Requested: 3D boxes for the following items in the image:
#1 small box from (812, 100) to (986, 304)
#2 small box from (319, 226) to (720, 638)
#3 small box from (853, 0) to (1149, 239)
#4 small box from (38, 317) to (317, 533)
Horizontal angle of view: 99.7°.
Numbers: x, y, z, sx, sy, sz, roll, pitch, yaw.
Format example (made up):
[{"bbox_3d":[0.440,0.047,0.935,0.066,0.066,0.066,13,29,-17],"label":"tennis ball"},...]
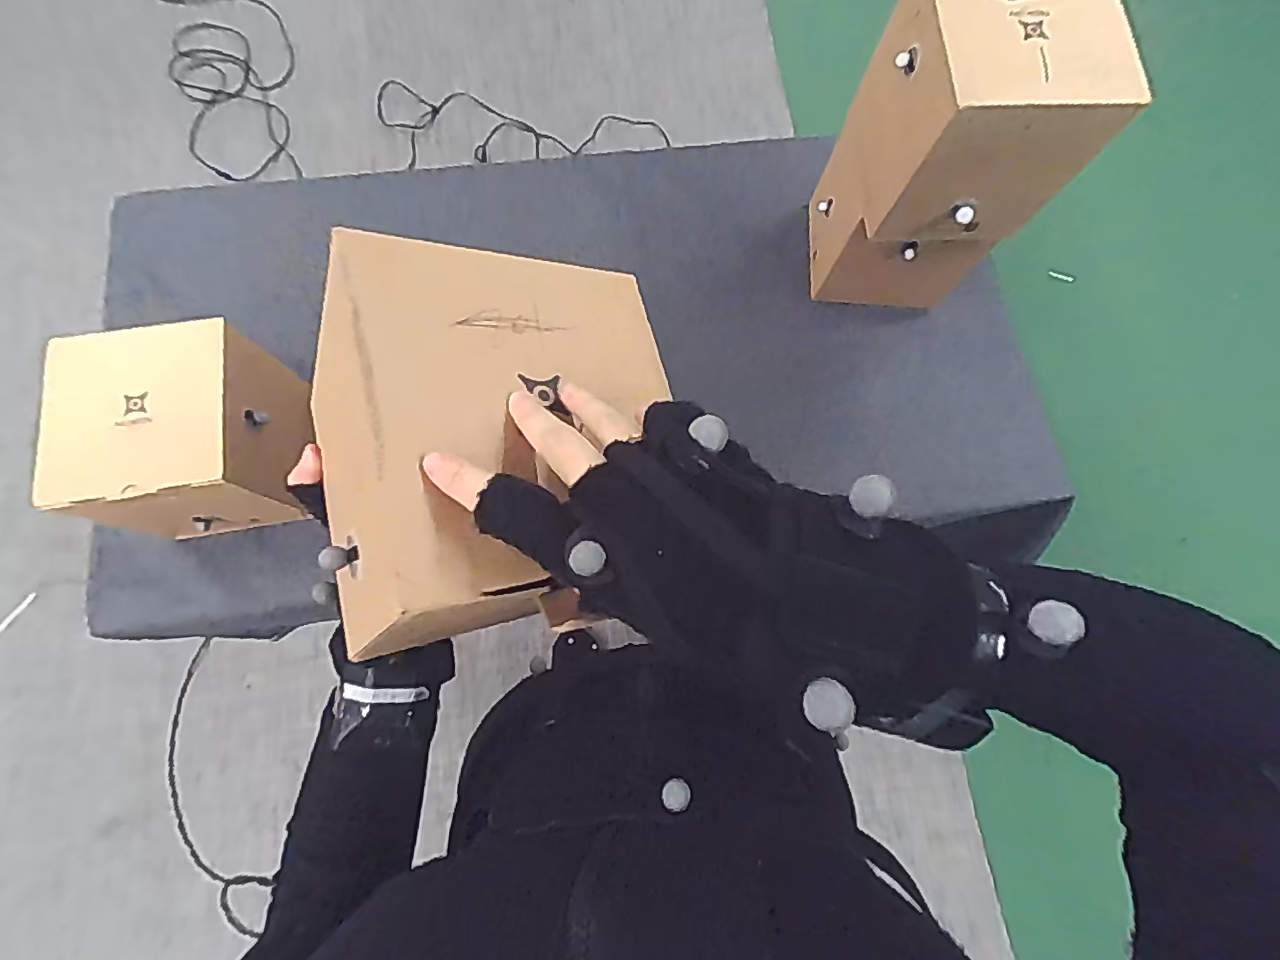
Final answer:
[{"bbox_3d":[0.331,-0.347,0.700,0.179,0.176,0.168,4,76,-1],"label":"small box"},{"bbox_3d":[-0.086,-0.011,0.328,0.168,0.176,0.179,-6,73,-37],"label":"small box"},{"bbox_3d":[0.330,-0.369,0.536,0.168,0.176,0.179,-2,77,-2],"label":"small box"},{"bbox_3d":[-0.481,-0.050,0.593,0.168,0.176,0.179,-10,76,-5],"label":"small box"}]
